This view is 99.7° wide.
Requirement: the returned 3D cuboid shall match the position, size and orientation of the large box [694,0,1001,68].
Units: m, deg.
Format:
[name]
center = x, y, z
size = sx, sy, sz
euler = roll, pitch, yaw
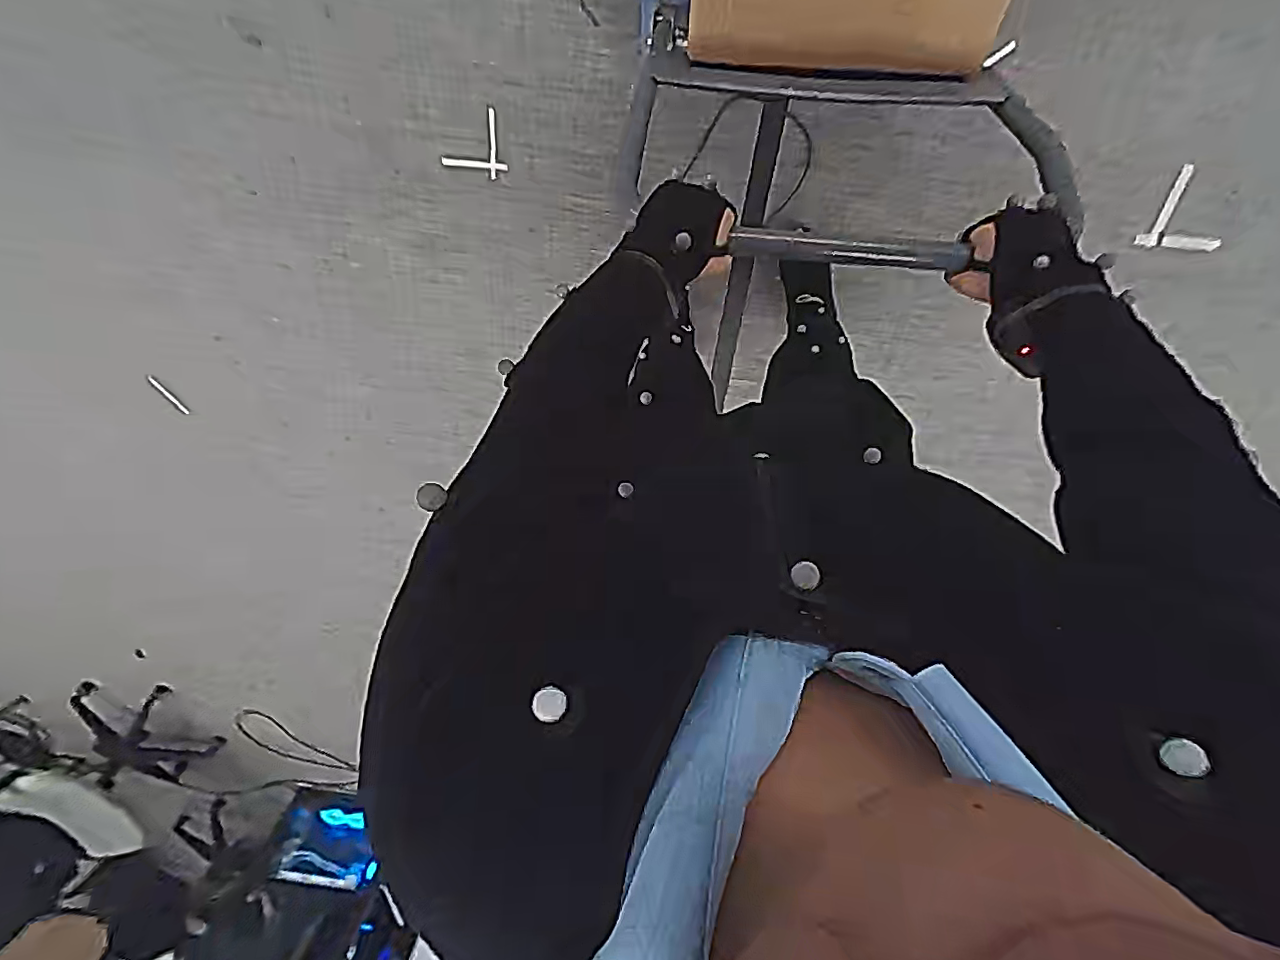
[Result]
[large box]
center = 0.285, -0.801, 0.756
size = 0.408, 0.320, 0.320
euler = 4, 138, 3
